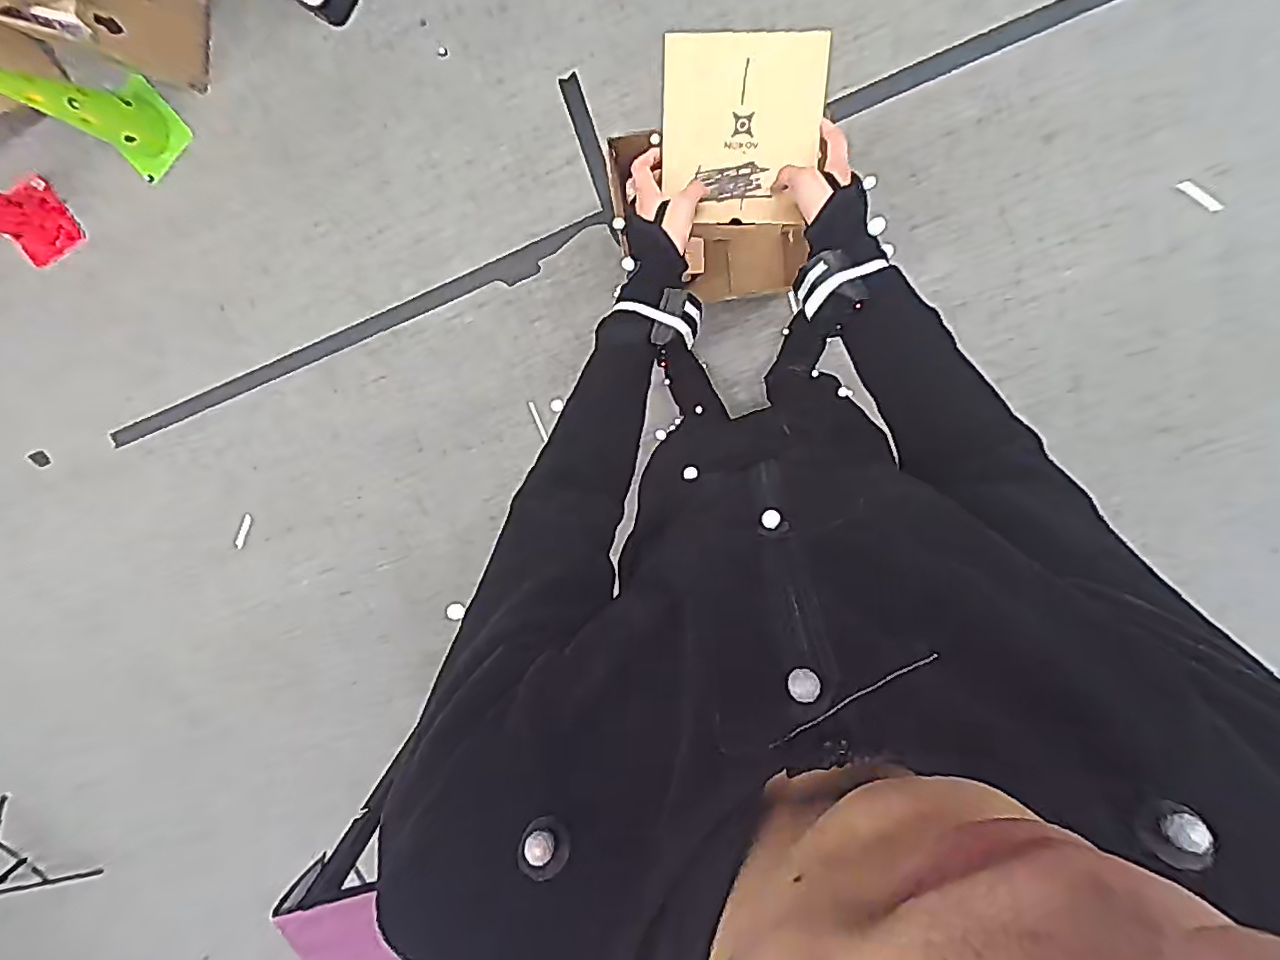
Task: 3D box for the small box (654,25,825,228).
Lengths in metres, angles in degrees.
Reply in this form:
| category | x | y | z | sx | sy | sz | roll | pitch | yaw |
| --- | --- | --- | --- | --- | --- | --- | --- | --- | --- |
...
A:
| category | x | y | z | sx | sy | sz | roll | pitch | yaw |
| --- | --- | --- | --- | --- | --- | --- | --- | --- | --- |
| small box | 0.103 | -0.395 | 0.634 | 0.168 | 0.176 | 0.179 | 1 | 112 | 2 |
